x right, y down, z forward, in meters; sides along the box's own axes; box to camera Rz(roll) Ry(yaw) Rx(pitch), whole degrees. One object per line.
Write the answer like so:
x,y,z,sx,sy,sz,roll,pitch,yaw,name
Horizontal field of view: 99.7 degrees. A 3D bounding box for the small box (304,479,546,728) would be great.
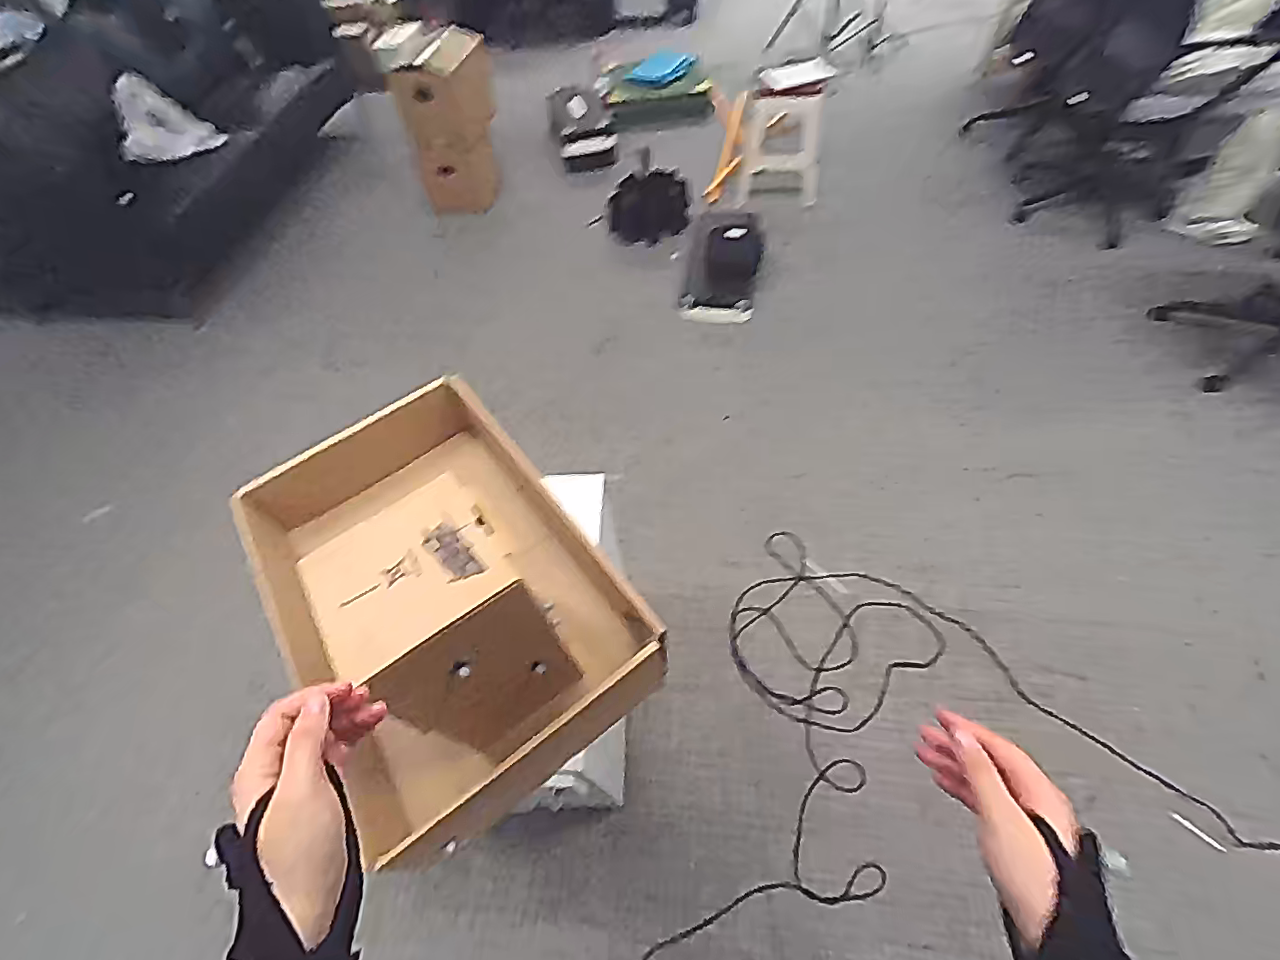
-0.220,0.138,0.598,0.179,0.176,0.168,-33,56,-16,small box
